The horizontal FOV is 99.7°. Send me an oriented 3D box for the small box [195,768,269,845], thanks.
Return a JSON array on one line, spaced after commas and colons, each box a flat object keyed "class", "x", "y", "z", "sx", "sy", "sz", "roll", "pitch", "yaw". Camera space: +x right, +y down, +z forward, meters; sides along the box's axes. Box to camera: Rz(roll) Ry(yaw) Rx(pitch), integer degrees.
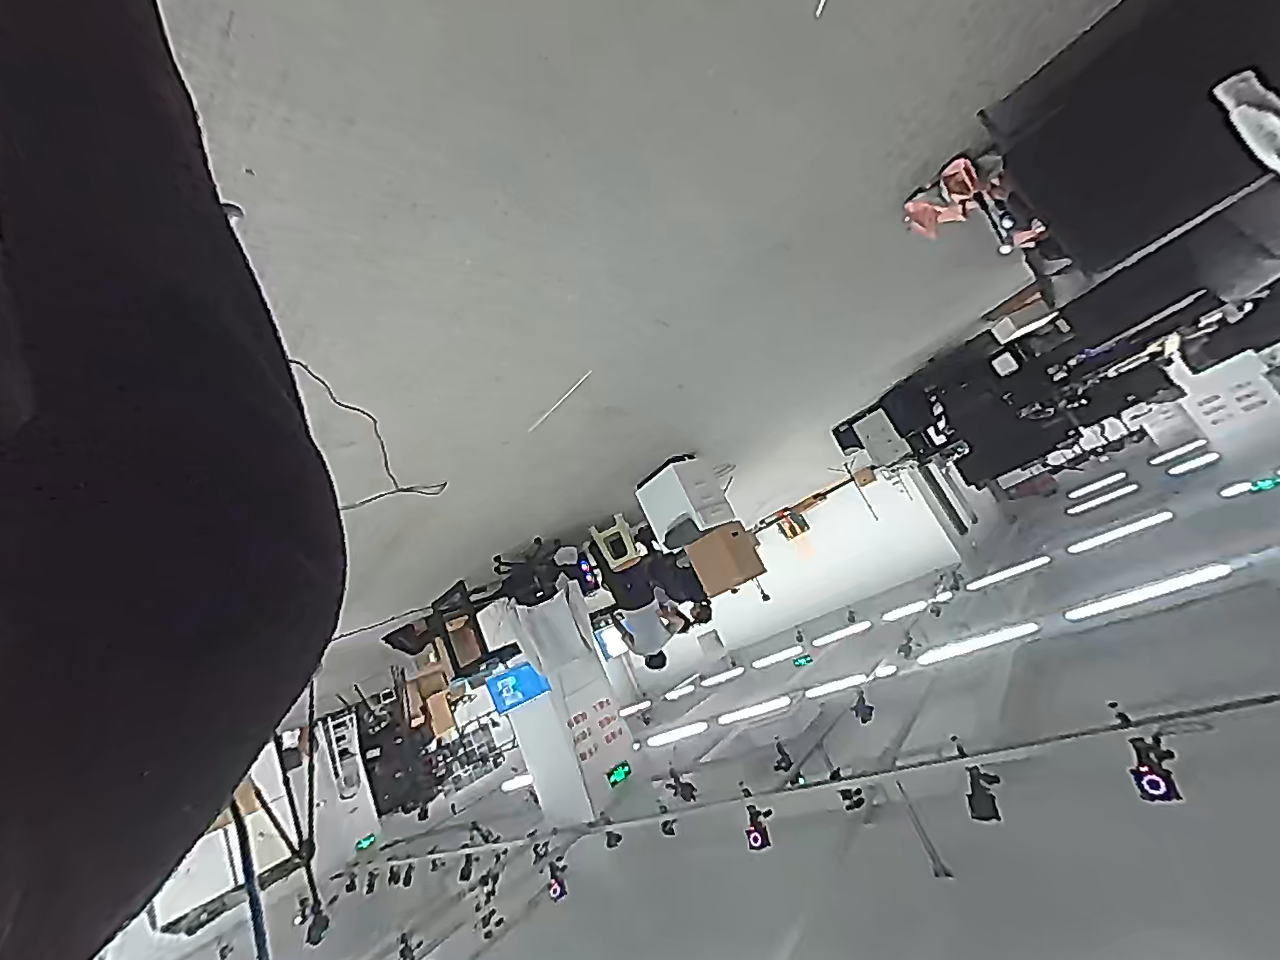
[{"class": "small box", "x": -1.404, "y": 1.114, "z": 1.856, "sx": 0.168, "sy": 0.176, "sz": 0.179, "roll": -9, "pitch": 159, "yaw": -47}]
